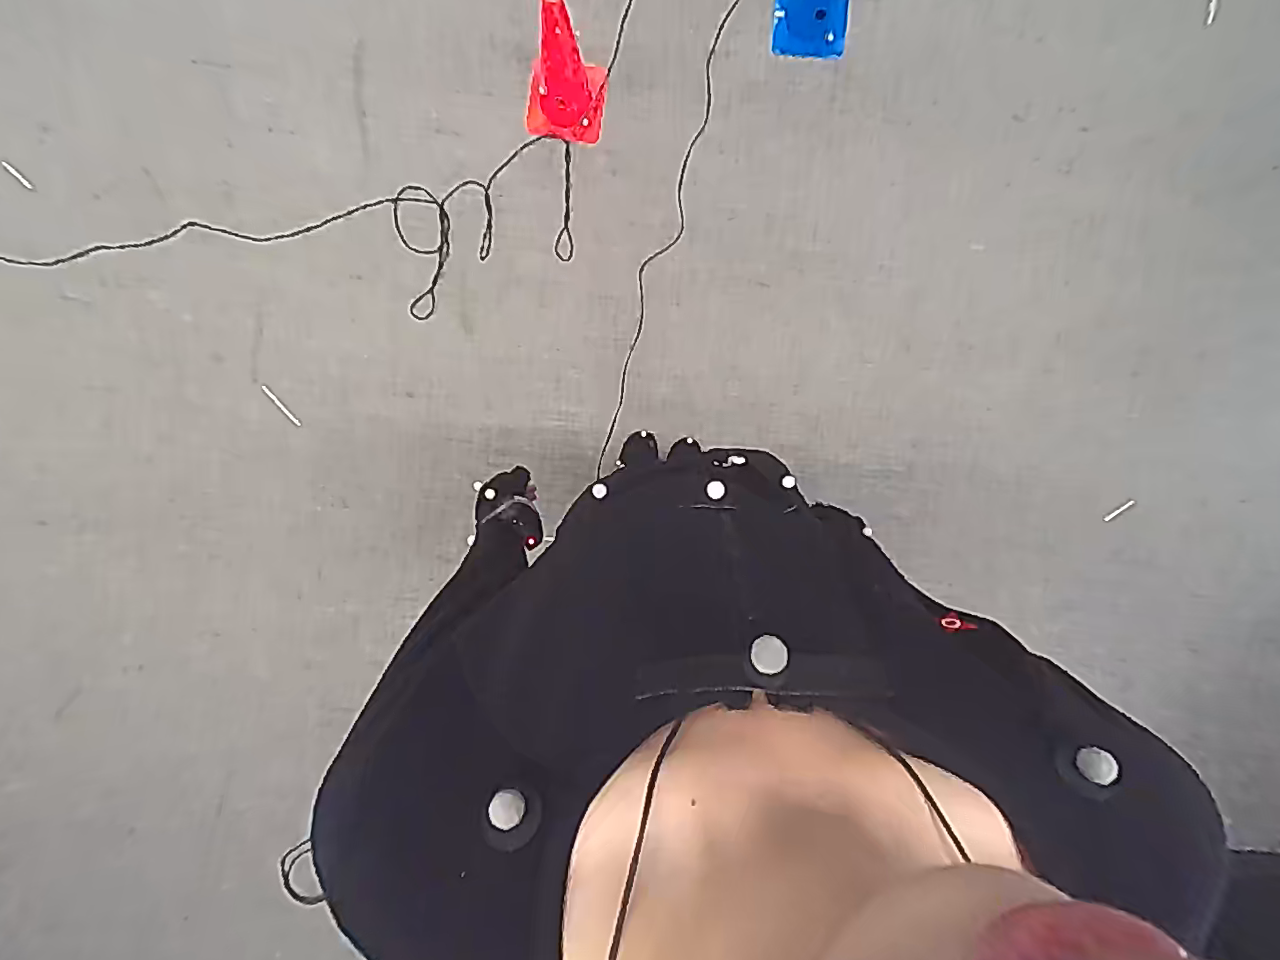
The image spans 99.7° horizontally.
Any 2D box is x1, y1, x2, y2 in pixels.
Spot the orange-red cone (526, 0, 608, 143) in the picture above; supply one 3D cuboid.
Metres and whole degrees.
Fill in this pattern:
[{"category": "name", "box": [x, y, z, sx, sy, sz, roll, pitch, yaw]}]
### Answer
[{"category": "orange-red cone", "box": [-0.186, -1.003, 1.265, 0.198, 0.360, 0.199, 10, 92, -3]}]
